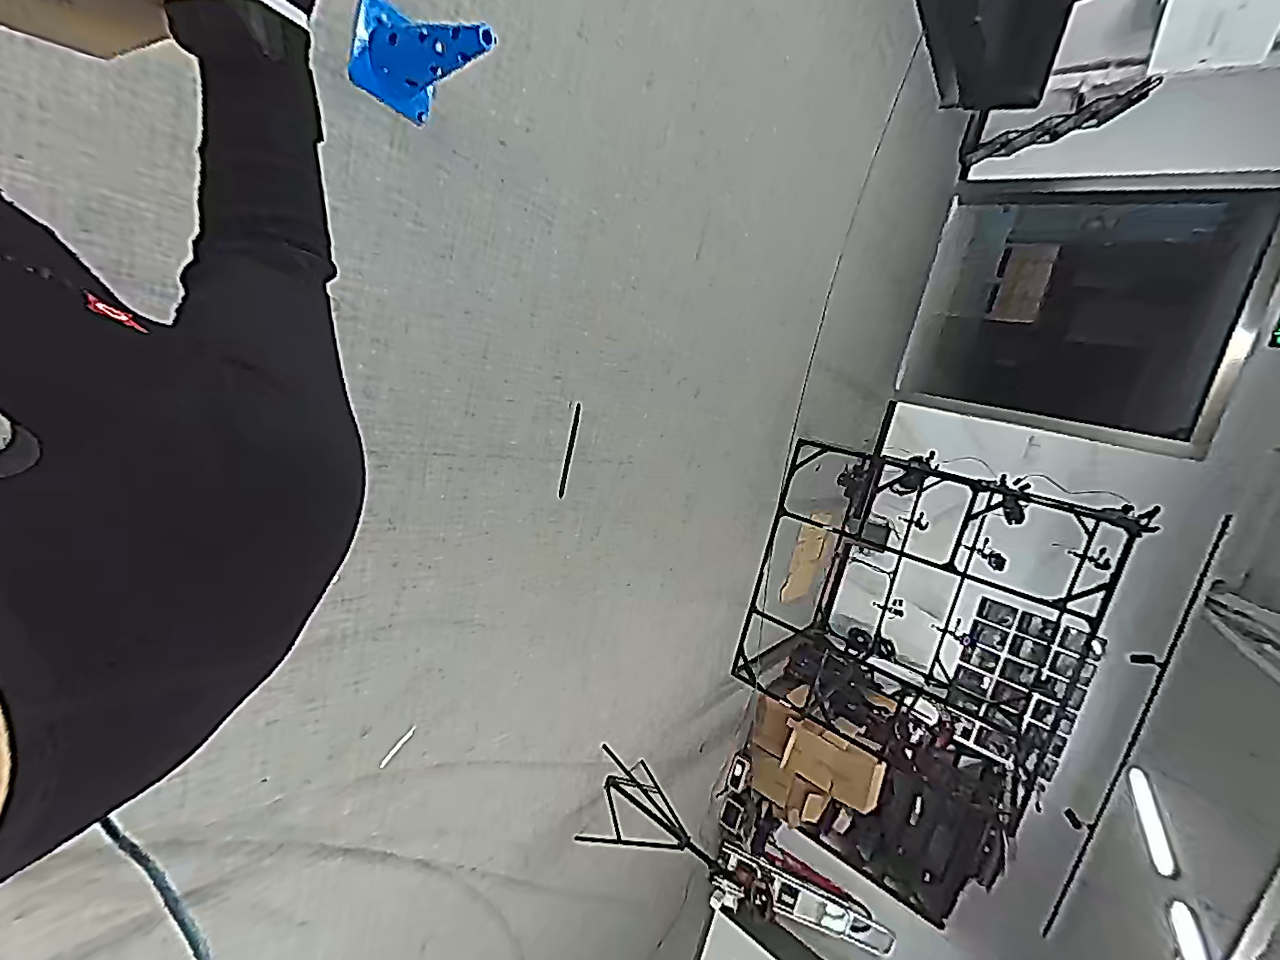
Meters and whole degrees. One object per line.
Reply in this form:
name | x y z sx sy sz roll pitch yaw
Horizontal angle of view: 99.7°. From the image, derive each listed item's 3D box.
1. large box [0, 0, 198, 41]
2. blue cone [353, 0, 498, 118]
large box | -0.498 -0.480 0.240 0.408 0.320 0.320 -13 121 -52
blue cone | -0.462 -0.970 1.218 0.192 0.380 0.193 6 102 -56
